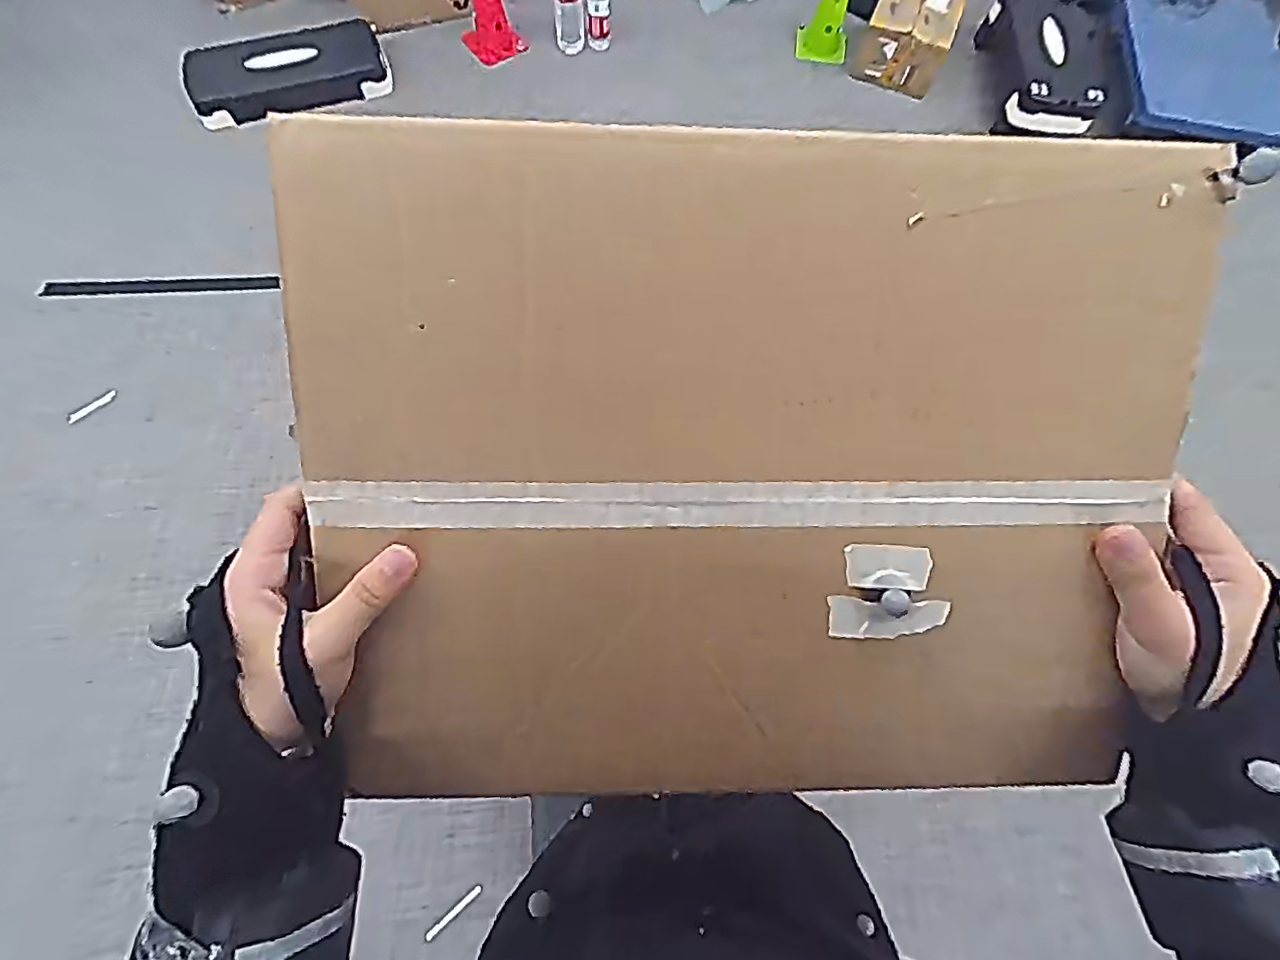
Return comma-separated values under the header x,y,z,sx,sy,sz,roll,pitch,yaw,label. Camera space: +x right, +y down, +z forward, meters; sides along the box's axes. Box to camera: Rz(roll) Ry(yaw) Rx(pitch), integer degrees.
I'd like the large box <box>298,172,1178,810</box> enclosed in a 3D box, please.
x,y,z,sx,sy,sz,roll,pitch,yaw,label
0.043,-0.008,0.411,0.408,0.320,0.320,0,102,-3,large box
